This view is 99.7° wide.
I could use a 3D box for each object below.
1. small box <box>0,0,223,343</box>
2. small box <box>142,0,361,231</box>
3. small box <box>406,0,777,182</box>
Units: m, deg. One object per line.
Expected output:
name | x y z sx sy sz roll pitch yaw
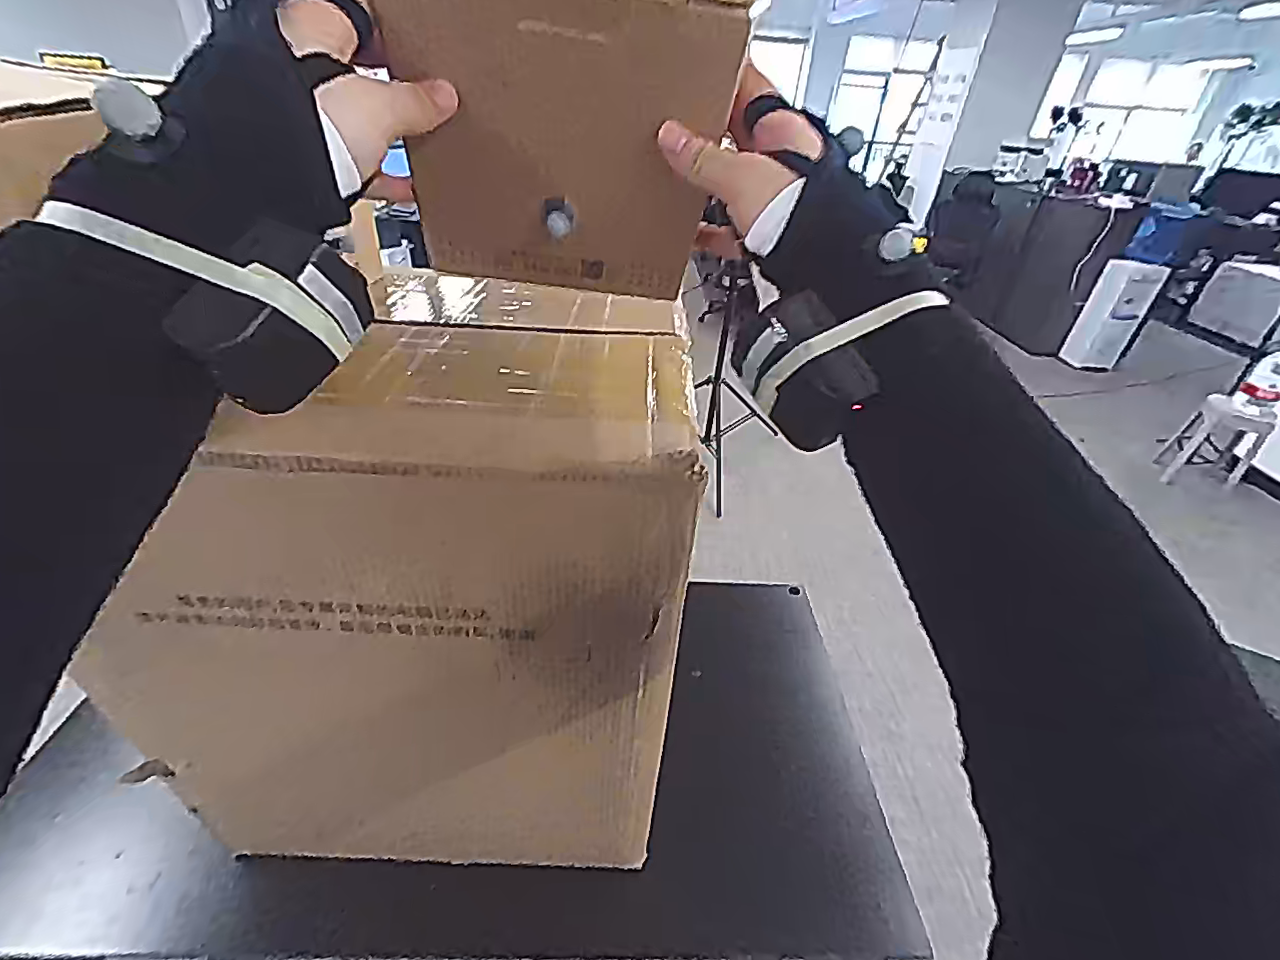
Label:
small box | -0.337 -0.174 0.242 0.168 0.176 0.179 2 39 -8
small box | -0.346 -0.295 0.411 0.179 0.176 0.168 4 34 -3
small box | -0.021 -0.284 0.263 0.168 0.176 0.179 4 60 -8
